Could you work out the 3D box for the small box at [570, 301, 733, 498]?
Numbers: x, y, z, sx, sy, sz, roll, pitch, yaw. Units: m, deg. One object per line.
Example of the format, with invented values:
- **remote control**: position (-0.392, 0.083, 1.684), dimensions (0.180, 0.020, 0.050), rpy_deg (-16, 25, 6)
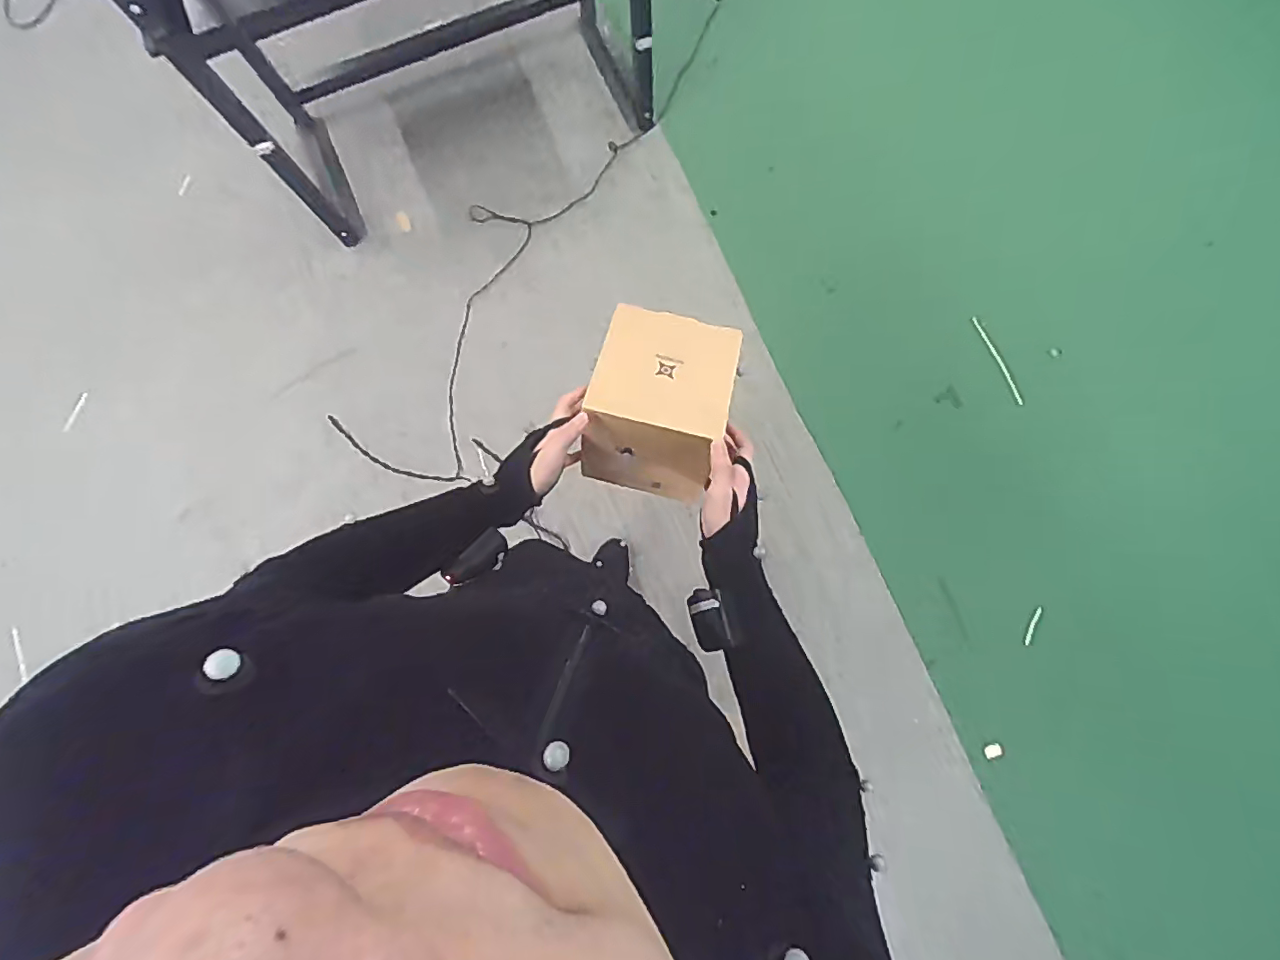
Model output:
- **small box**: position (0.014, -0.098, 0.712), dimensions (0.168, 0.176, 0.179), rpy_deg (13, 61, 2)
